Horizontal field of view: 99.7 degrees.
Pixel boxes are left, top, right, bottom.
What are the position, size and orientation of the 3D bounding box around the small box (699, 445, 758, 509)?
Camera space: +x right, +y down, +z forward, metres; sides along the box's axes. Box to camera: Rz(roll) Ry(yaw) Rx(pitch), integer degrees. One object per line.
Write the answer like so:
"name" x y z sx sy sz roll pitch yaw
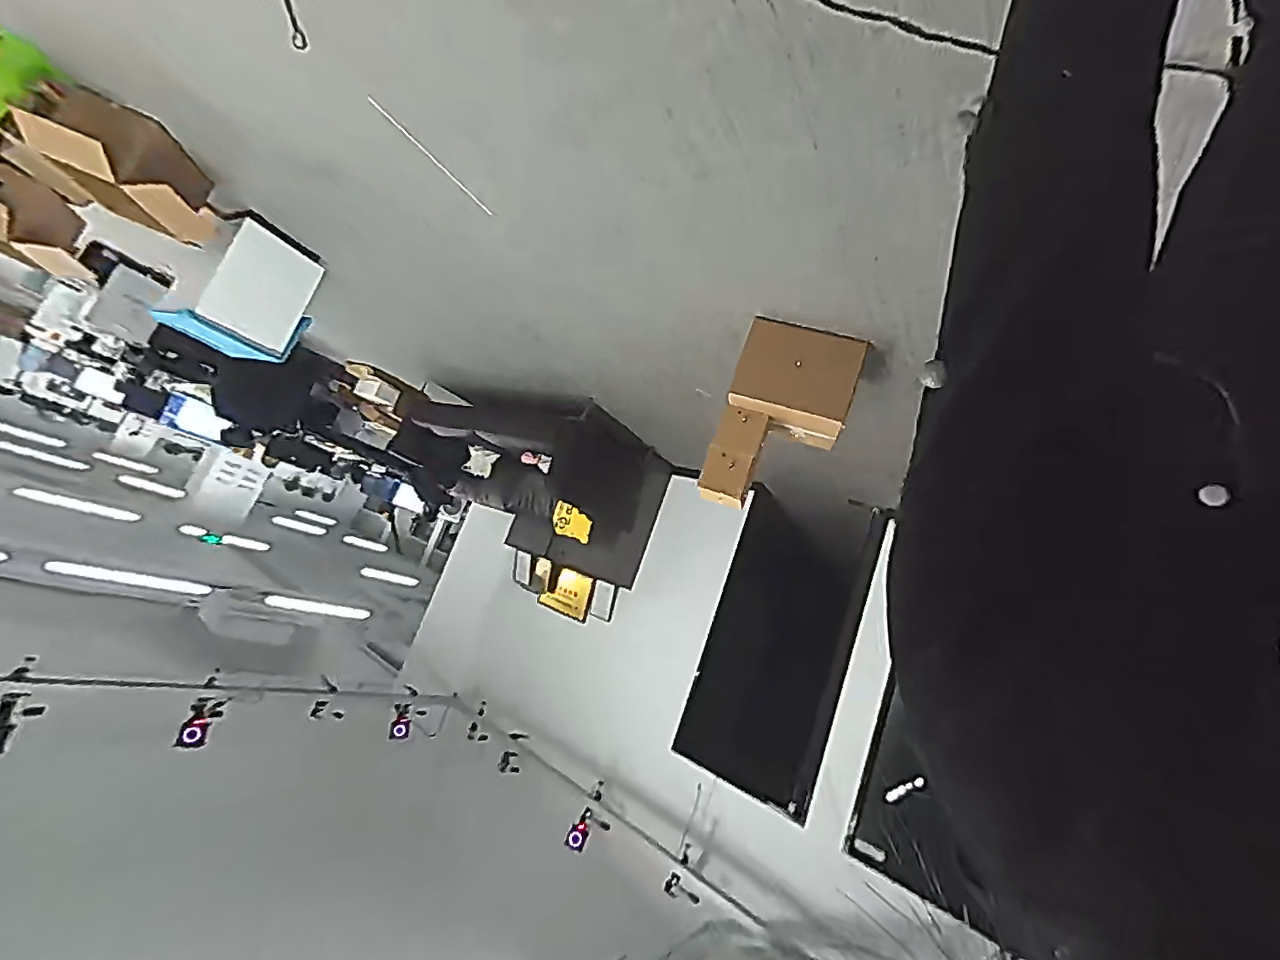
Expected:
"small box" 0.330 -0.012 1.994 0.168 0.176 0.179 17 169 18
